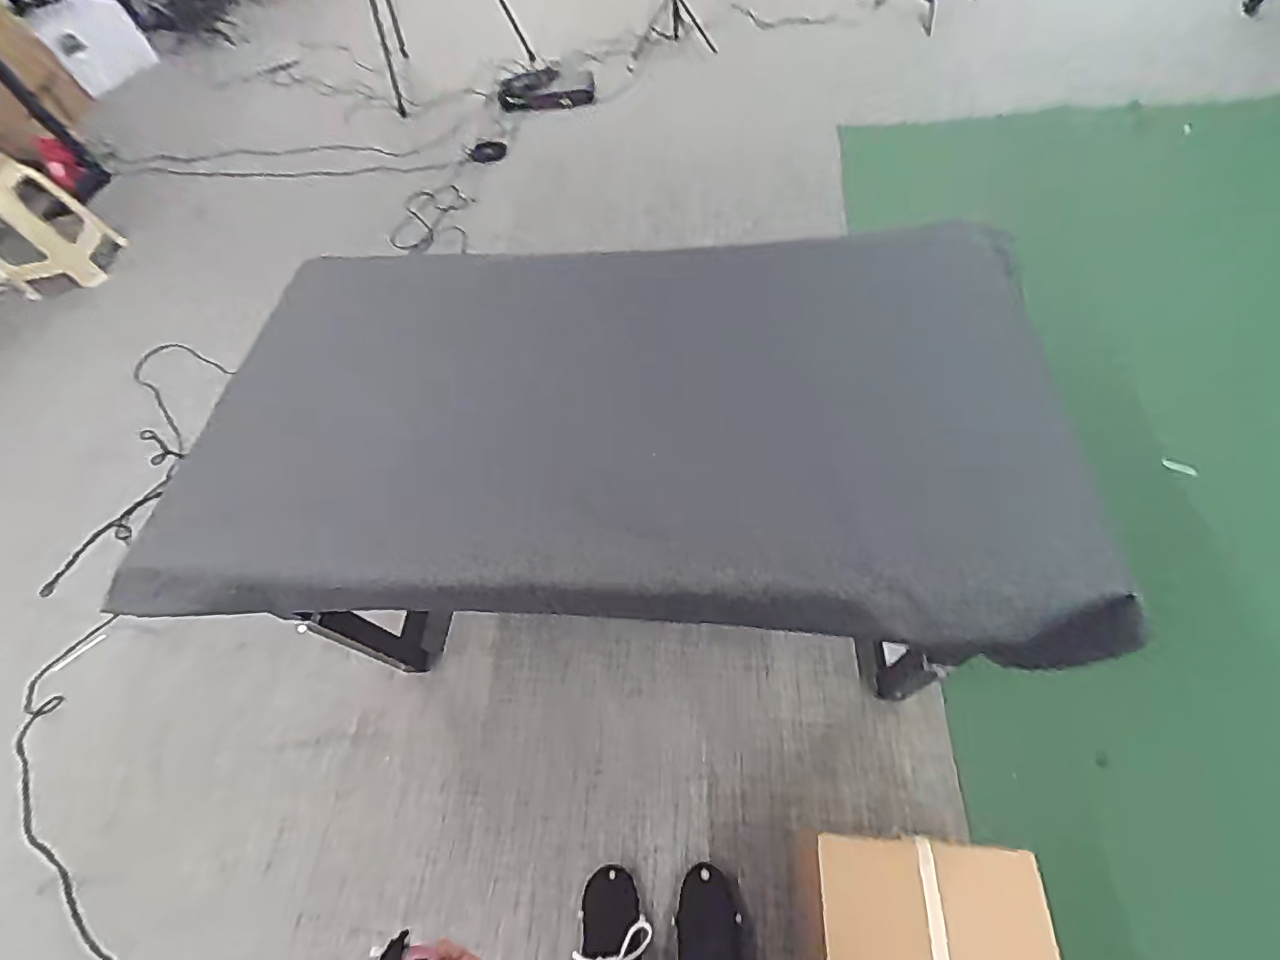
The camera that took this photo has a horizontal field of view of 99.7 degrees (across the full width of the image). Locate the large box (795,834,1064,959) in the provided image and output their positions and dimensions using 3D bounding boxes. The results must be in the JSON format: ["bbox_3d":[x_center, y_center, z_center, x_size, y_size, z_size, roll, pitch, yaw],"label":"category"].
[{"bbox_3d":[0.433,0.796,0.834,0.320,0.320,0.408,0,59,8],"label":"large box"}]
